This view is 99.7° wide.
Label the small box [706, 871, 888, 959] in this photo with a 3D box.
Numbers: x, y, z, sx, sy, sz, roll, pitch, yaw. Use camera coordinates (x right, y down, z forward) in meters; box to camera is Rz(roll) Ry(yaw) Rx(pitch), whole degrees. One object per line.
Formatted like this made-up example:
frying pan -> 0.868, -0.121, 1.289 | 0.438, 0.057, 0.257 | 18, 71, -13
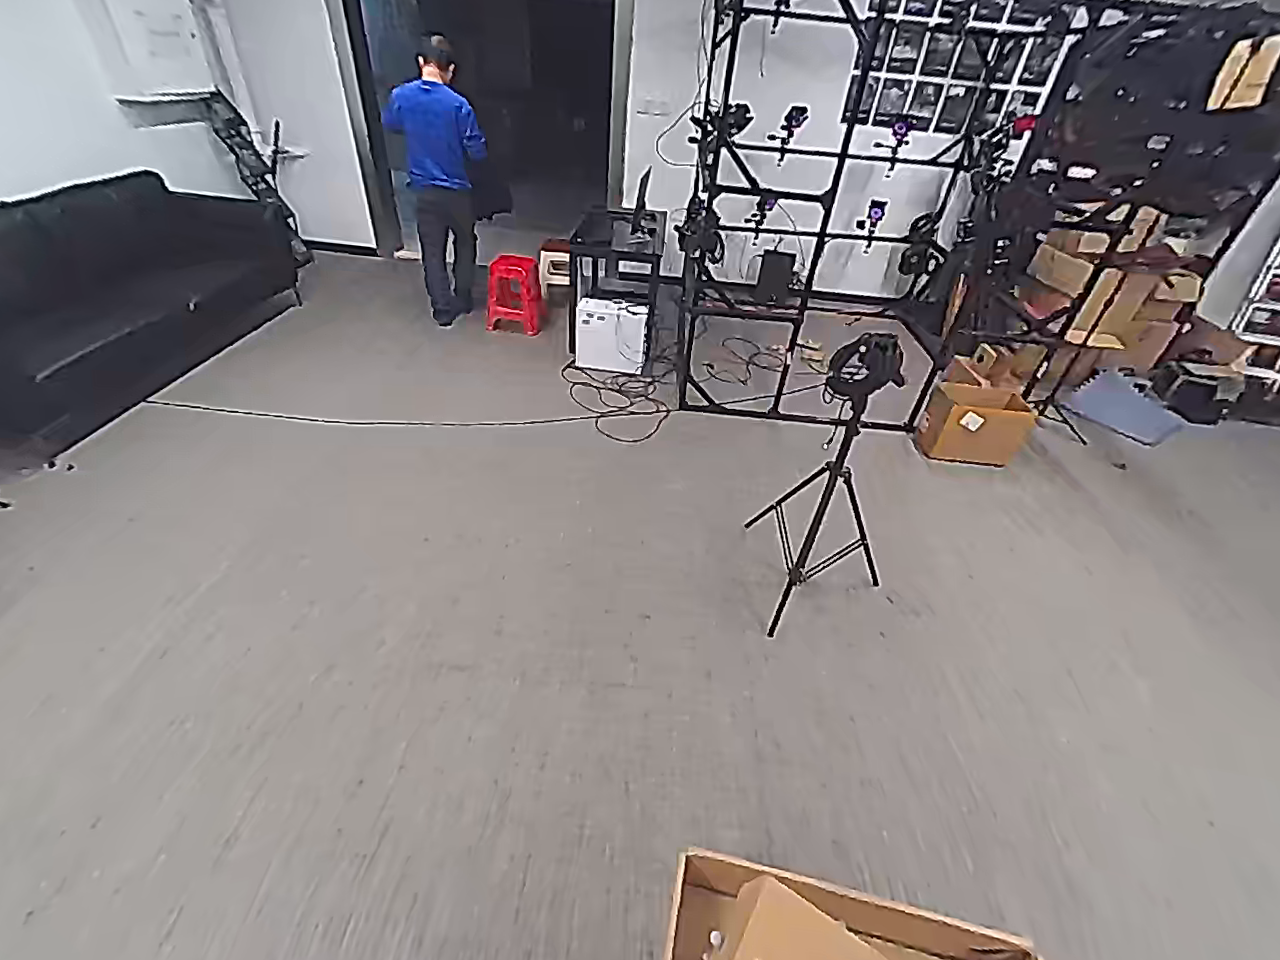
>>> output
small box -> 0.171, 0.594, 0.620 | 0.179, 0.176, 0.168 | 27, 53, 20
